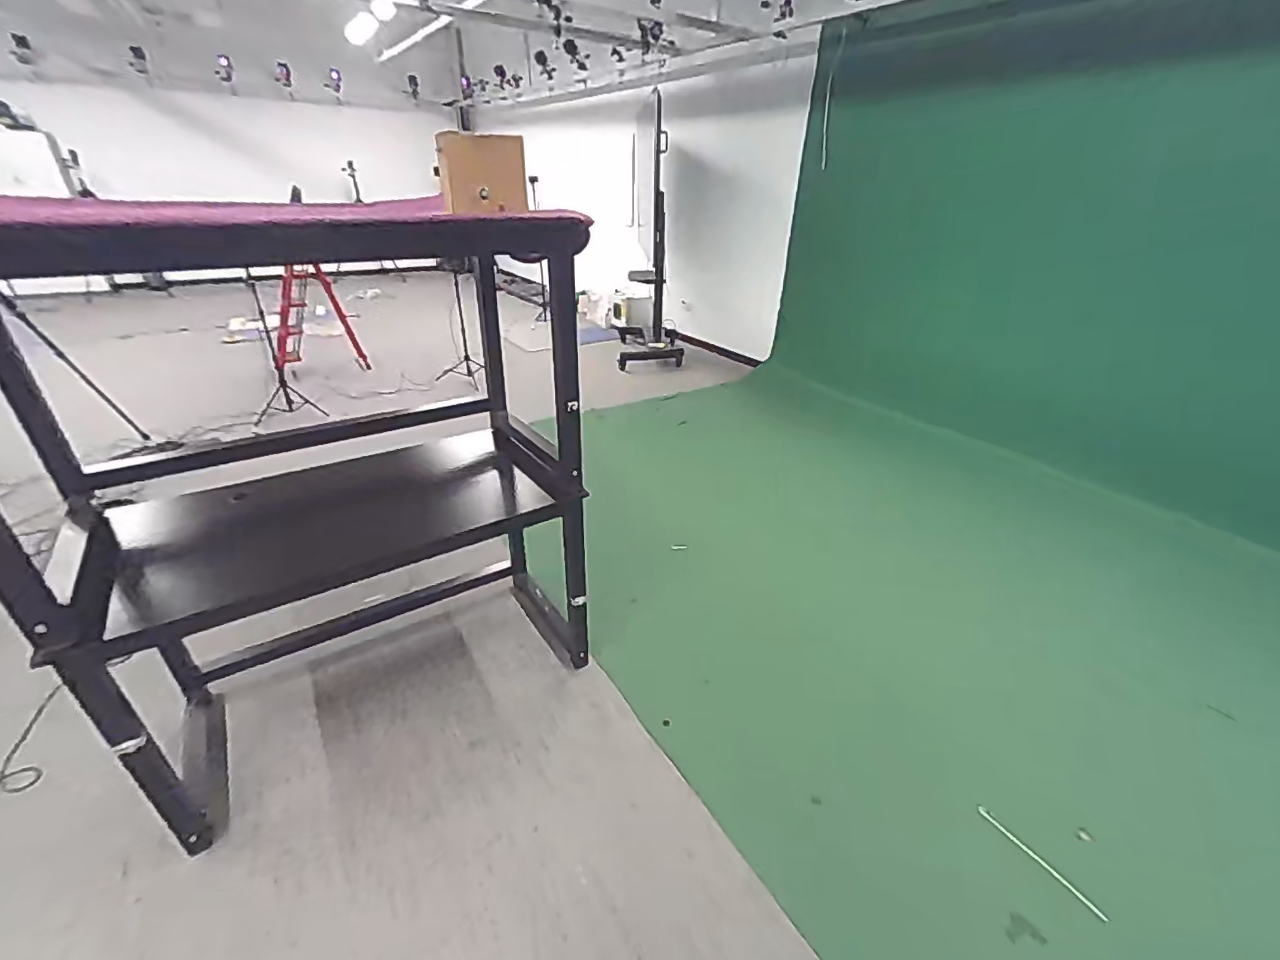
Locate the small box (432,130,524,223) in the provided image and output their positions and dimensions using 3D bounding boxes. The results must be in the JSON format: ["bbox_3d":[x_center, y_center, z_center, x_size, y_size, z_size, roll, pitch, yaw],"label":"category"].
[{"bbox_3d":[-0.364,-0.682,1.218,0.168,0.176,0.179,-12,33,-21],"label":"small box"}]
